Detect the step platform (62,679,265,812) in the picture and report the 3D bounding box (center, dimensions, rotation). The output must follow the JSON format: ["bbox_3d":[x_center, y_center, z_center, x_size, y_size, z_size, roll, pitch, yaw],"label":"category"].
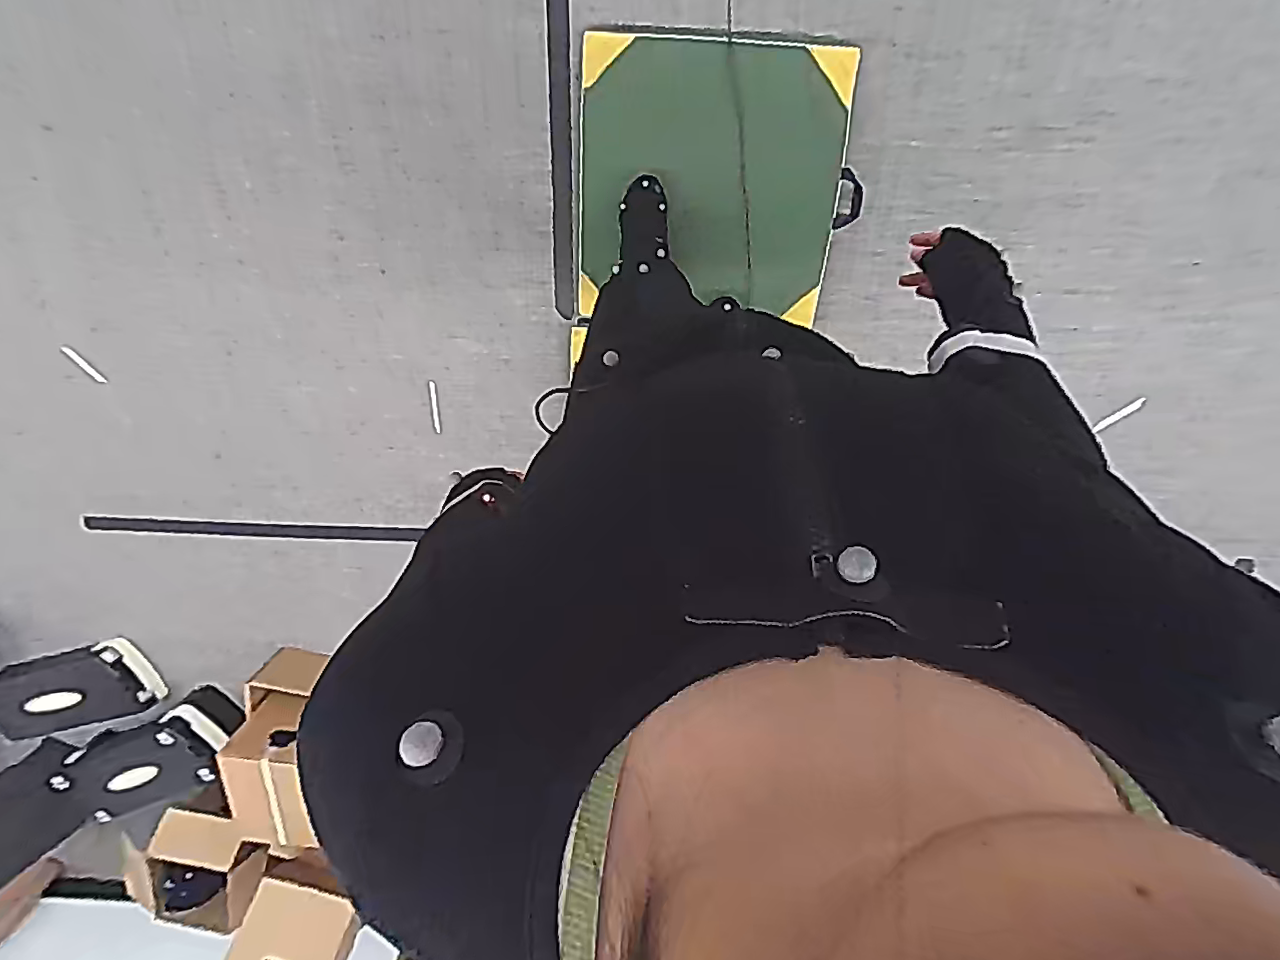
[{"bbox_3d":[-1.809,1.016,2.055,0.684,0.204,0.286,-25,110,12],"label":"step platform"}]
